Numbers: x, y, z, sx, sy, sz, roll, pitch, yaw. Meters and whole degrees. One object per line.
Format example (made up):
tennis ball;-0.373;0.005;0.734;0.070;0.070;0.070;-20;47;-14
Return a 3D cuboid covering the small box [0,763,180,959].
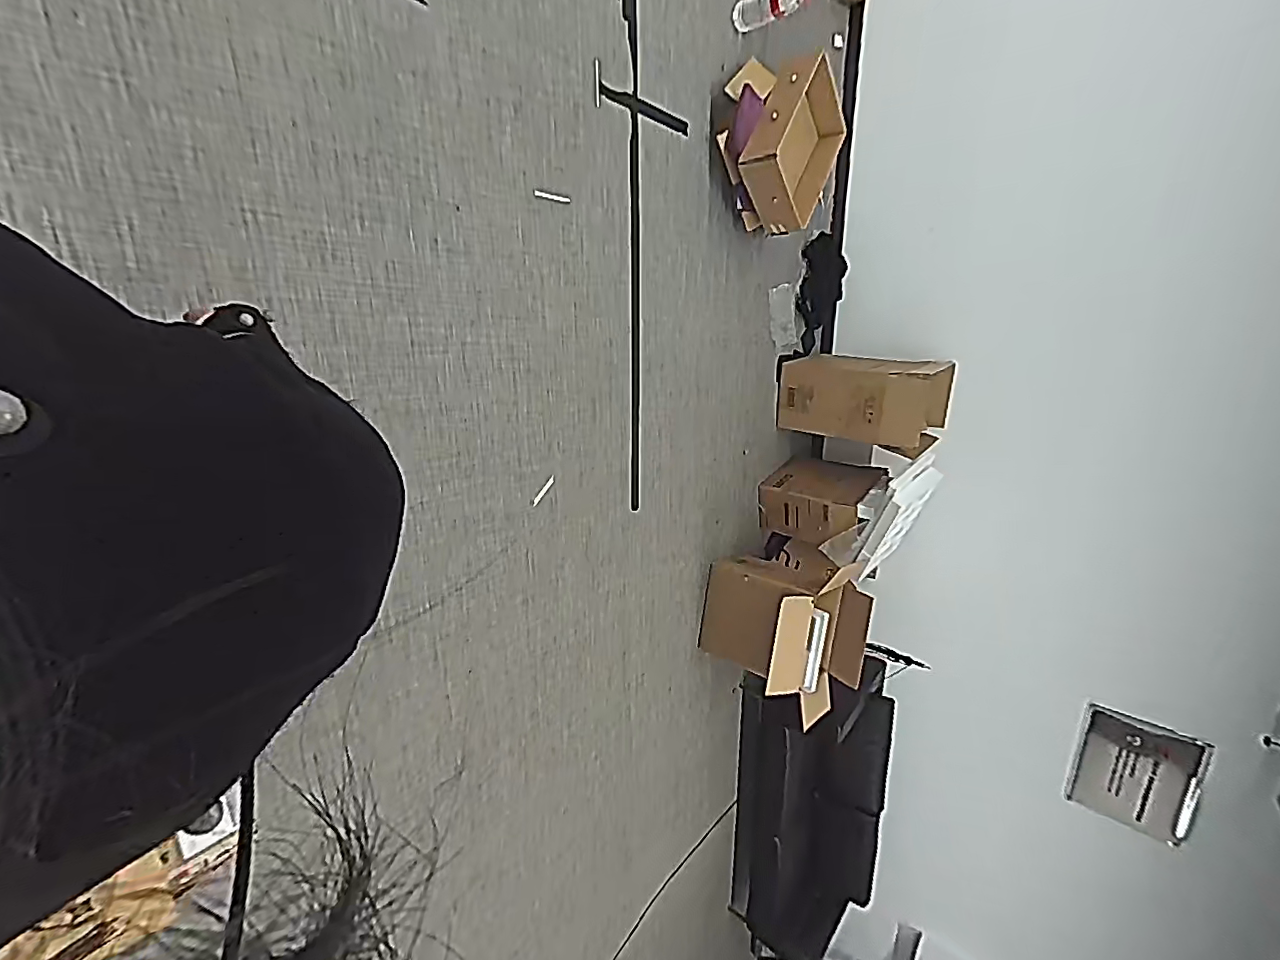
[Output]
small box;-0.774;0.541;0.749;0.168;0.176;0.179;-18;110;-47
